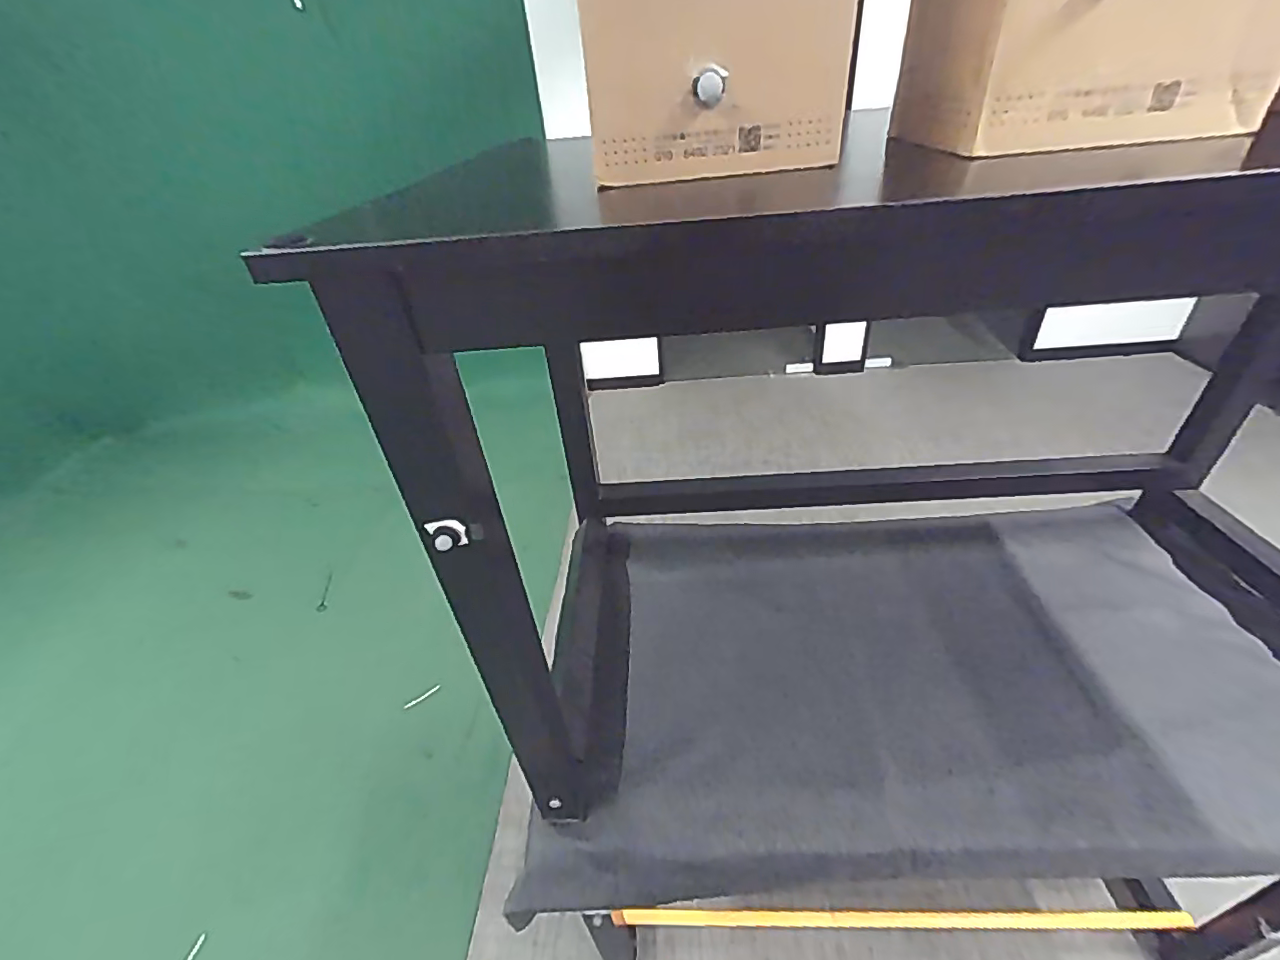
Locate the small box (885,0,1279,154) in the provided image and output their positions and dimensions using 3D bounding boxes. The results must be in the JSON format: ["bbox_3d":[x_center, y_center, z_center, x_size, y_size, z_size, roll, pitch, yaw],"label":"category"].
[{"bbox_3d":[0.277,-0.318,0.350,0.168,0.176,0.179,-2,36,6],"label":"small box"}]

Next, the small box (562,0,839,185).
[{"bbox_3d":[0.034,-0.319,0.387,0.168,0.176,0.179,-5,37,2],"label":"small box"}]
